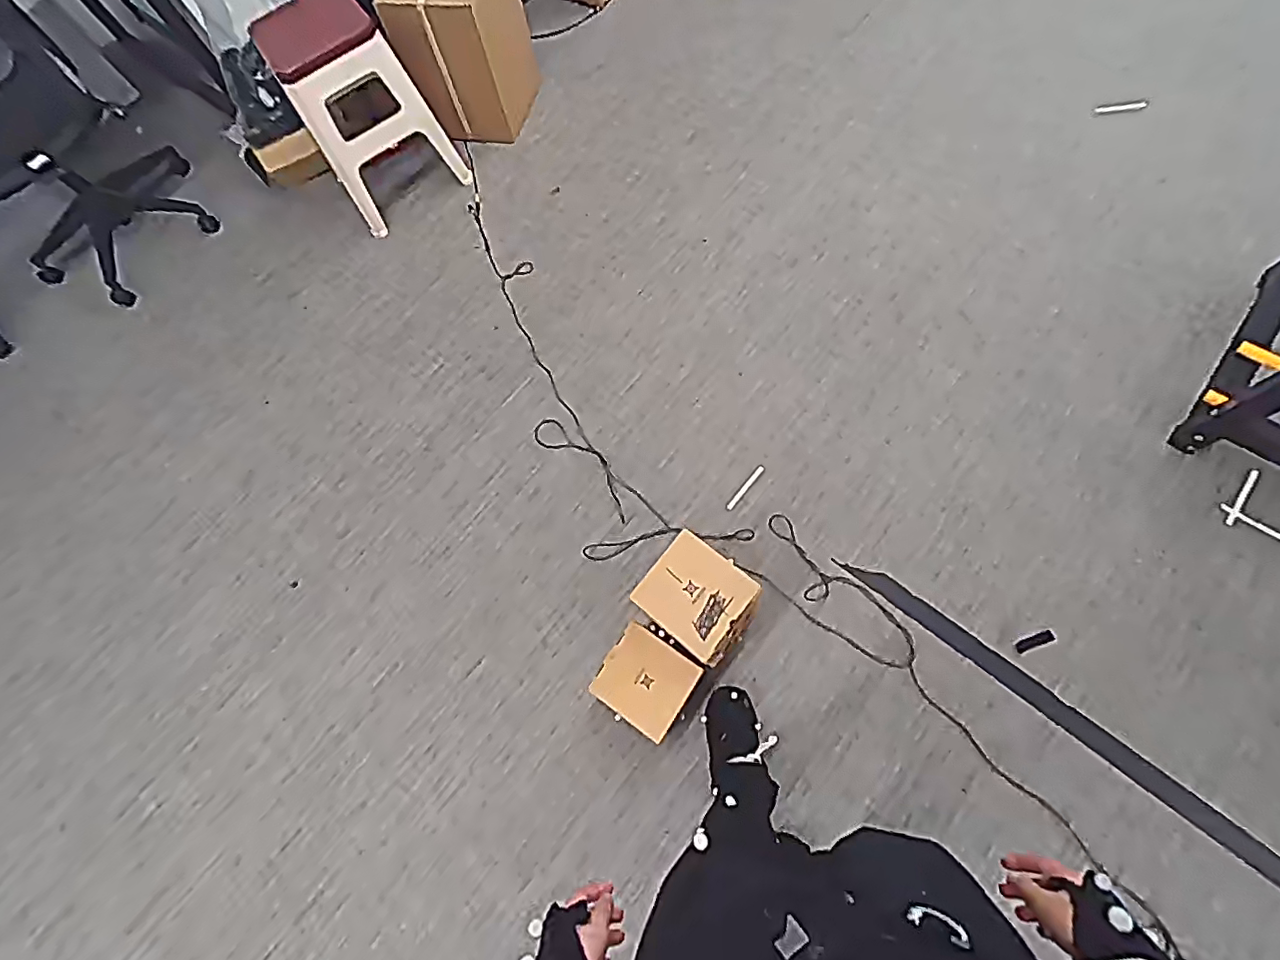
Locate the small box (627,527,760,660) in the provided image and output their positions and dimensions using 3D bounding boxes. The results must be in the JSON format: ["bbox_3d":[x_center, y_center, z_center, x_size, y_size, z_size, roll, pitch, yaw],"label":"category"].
[{"bbox_3d":[0.103,0.217,1.017,0.179,0.176,0.168,37,79,19],"label":"small box"}]
